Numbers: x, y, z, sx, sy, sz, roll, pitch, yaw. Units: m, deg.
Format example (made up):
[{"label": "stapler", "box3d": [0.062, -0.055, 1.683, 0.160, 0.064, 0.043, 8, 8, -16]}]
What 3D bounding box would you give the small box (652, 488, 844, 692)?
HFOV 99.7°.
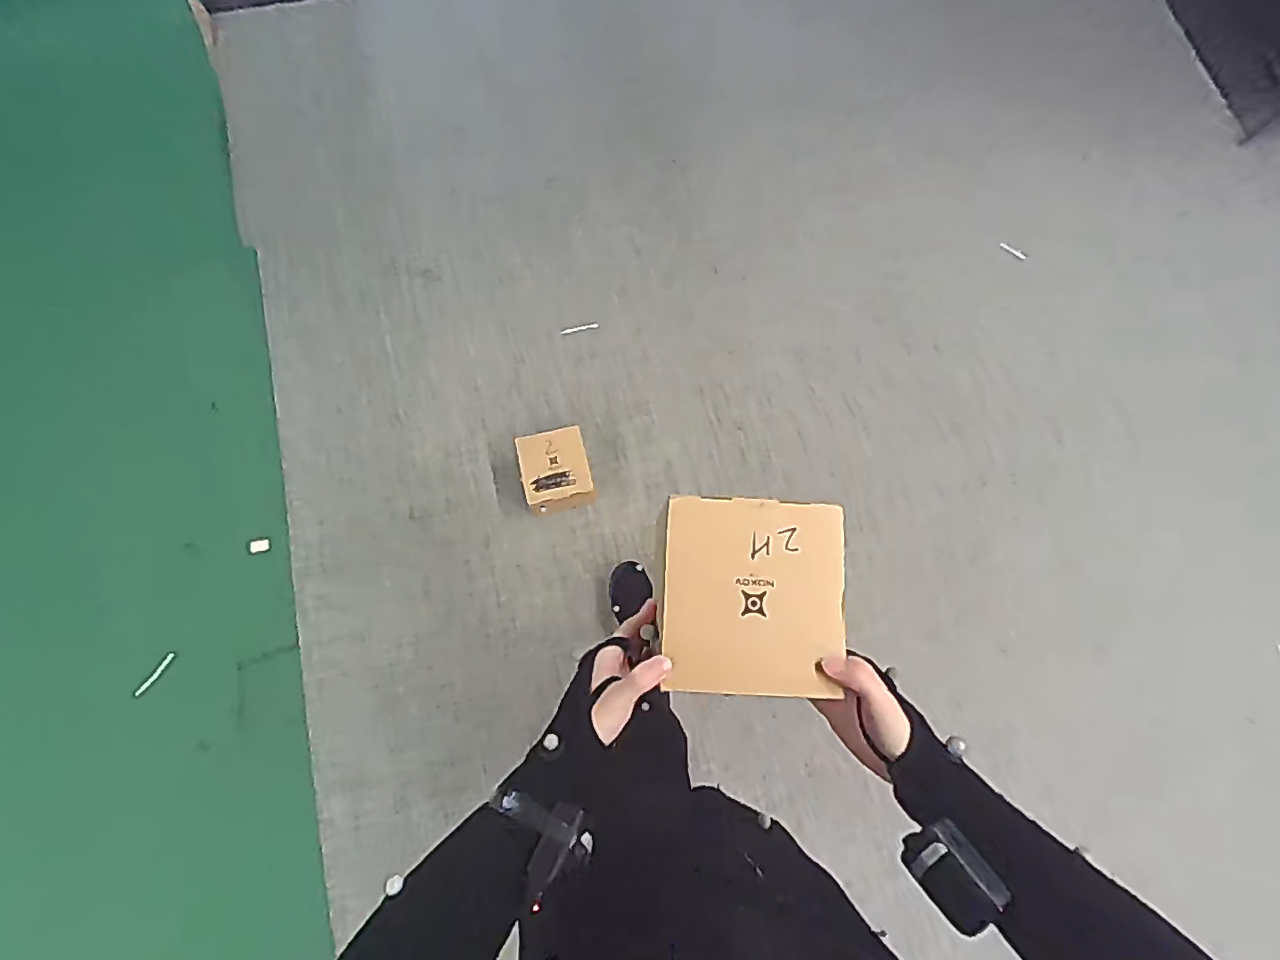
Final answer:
[{"label": "small box", "box3d": [0.101, 0.113, 0.569, 0.168, 0.176, 0.179, 4, 78, -2]}]
